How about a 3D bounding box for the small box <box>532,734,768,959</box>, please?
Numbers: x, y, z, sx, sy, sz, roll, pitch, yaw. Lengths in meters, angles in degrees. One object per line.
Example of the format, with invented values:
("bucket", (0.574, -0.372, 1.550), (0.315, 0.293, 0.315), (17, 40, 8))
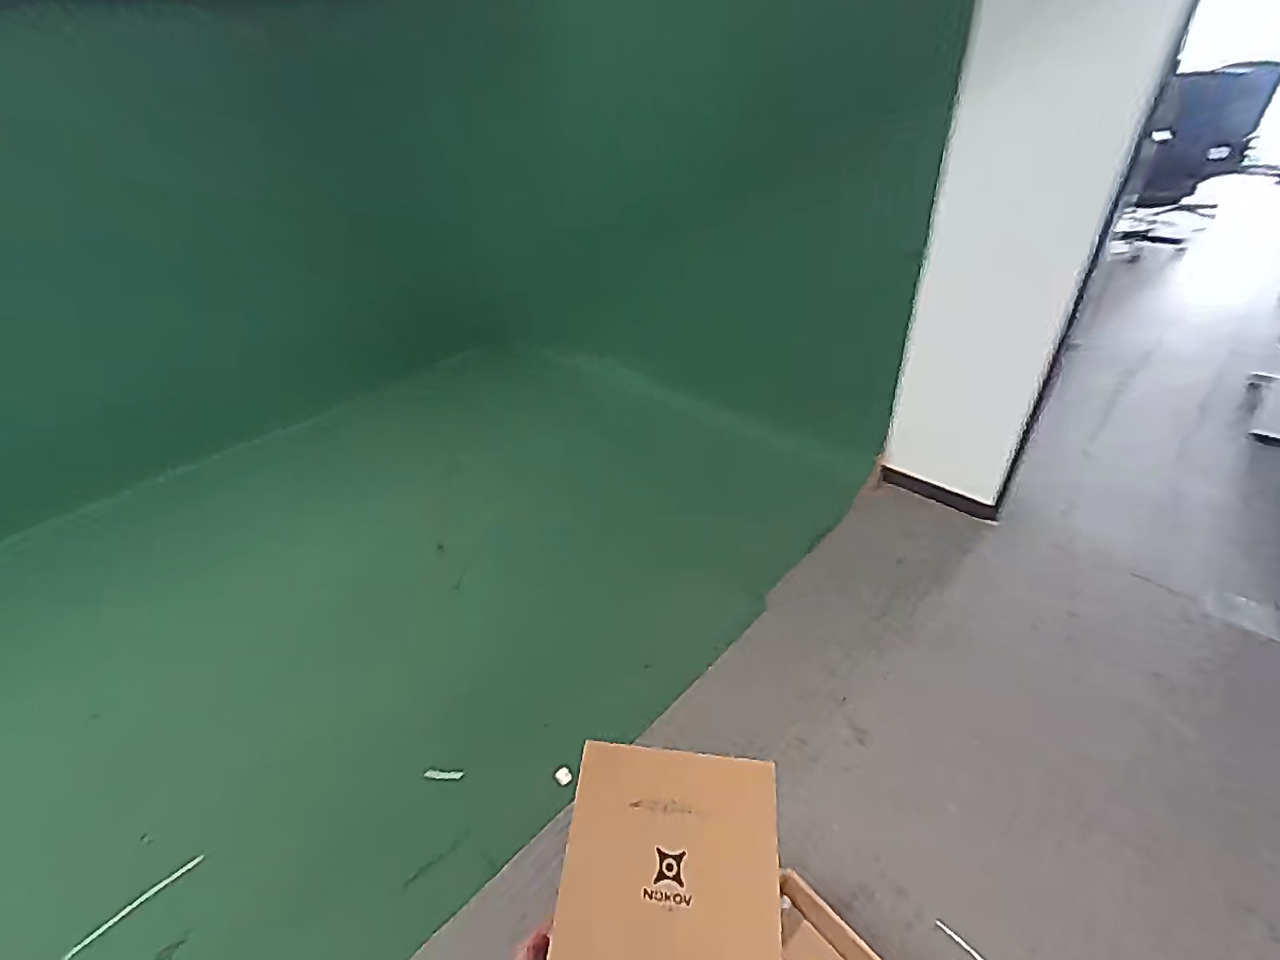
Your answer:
("small box", (0.017, 0.345, 0.466), (0.168, 0.176, 0.179), (4, 47, 6))
